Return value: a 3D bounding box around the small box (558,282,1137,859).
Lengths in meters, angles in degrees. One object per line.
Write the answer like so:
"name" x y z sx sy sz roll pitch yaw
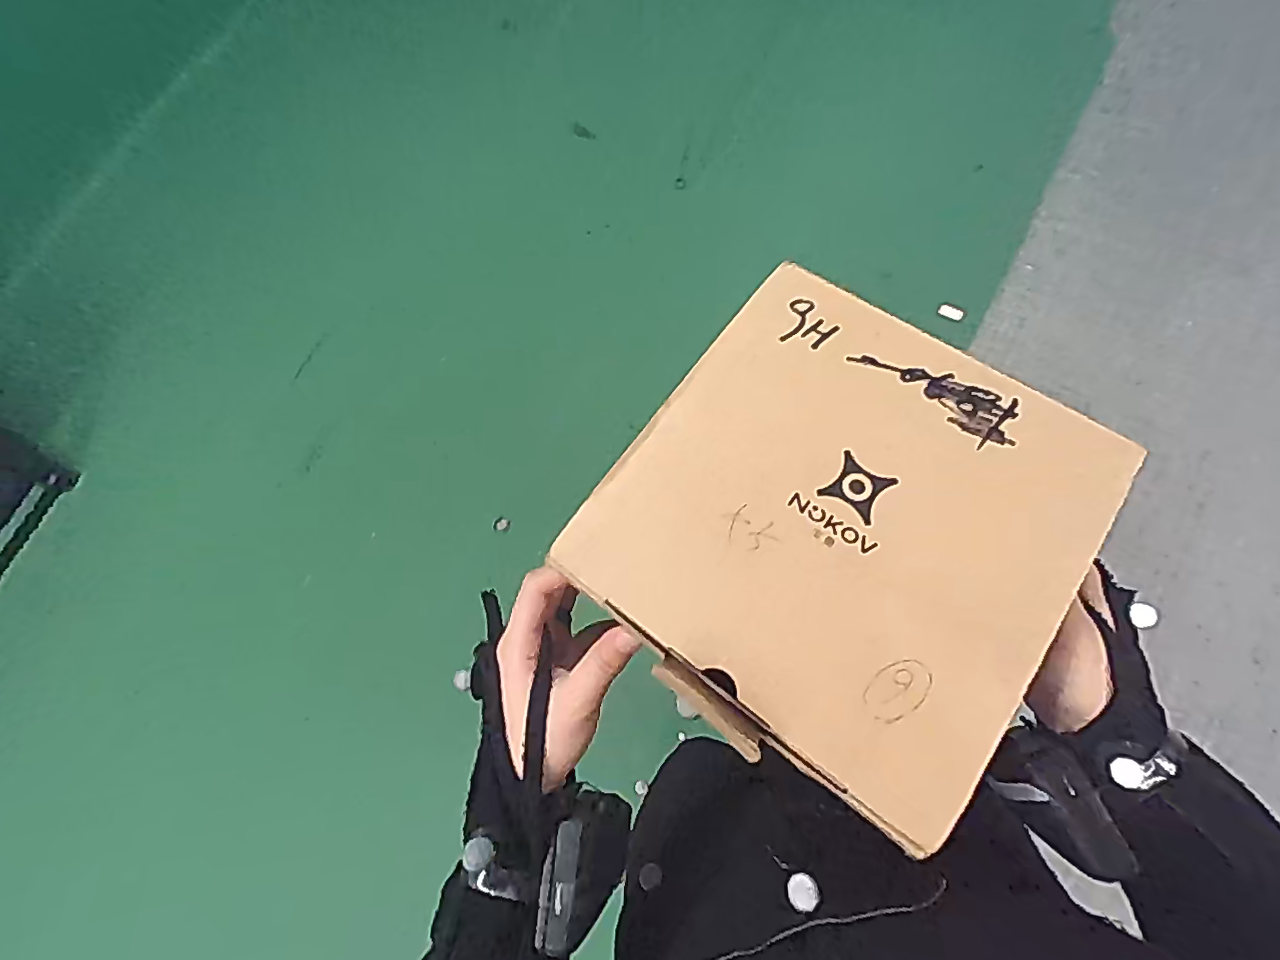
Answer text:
"small box" 0.087 0.042 0.291 0.168 0.176 0.179 37 77 14
